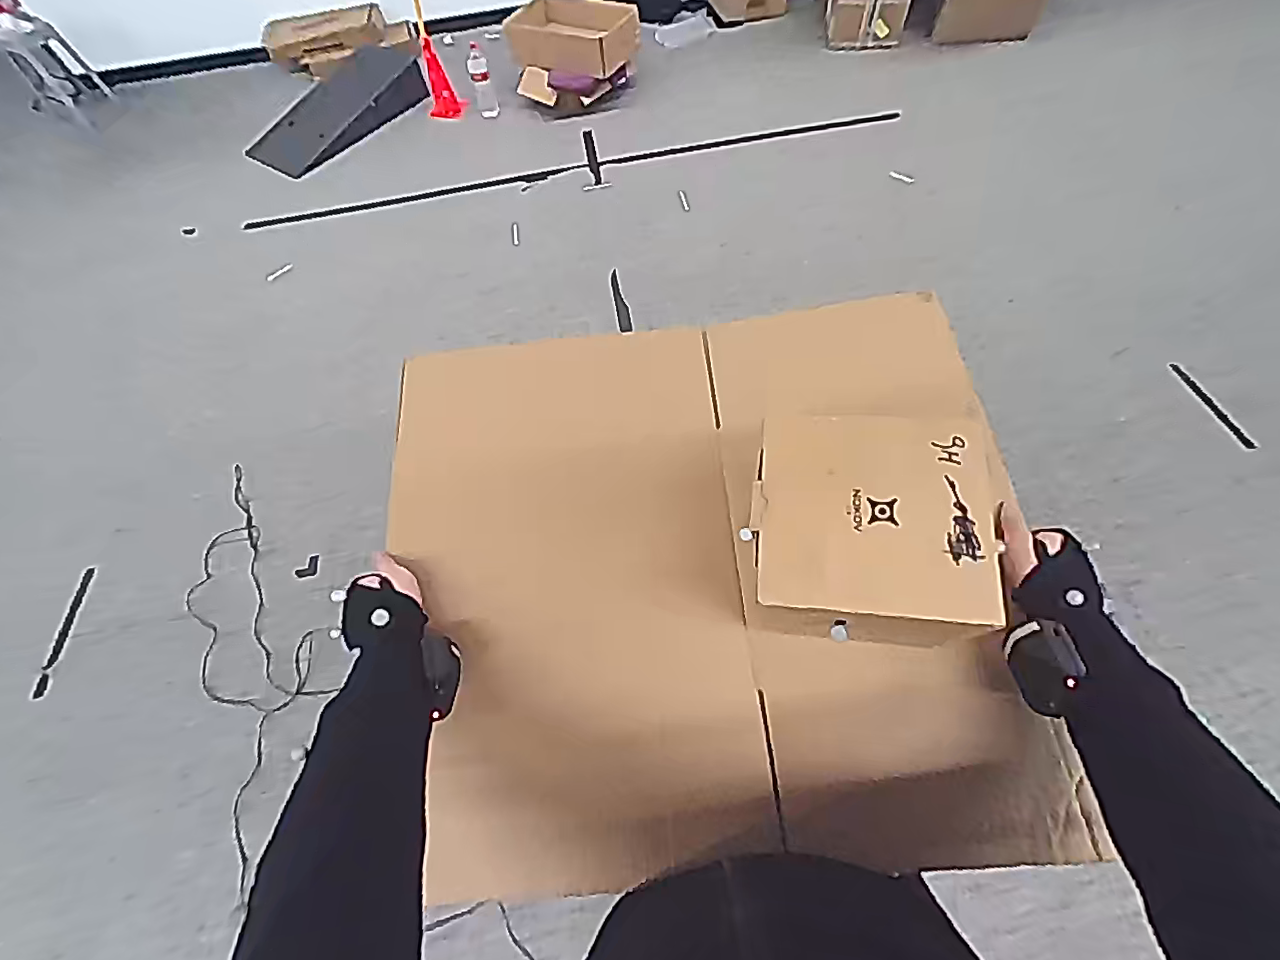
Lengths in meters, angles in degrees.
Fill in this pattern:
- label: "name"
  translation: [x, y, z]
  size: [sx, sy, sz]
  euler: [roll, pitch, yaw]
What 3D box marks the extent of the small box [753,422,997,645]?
- label: "small box"
  translation: [0.202, 0.057, 0.511]
  size: [0.179, 0.176, 0.168]
  euler: [2, 68, 13]
